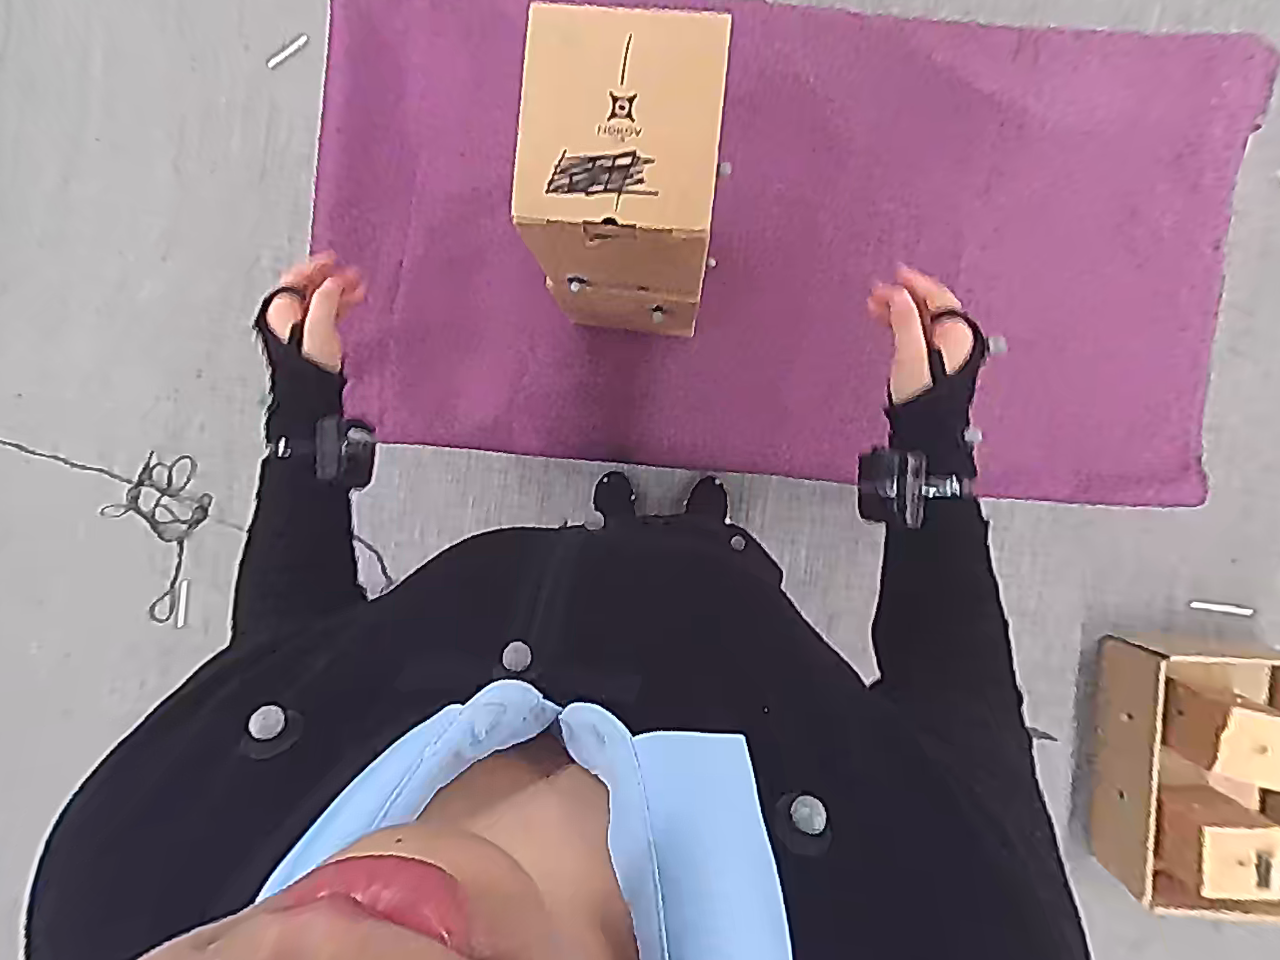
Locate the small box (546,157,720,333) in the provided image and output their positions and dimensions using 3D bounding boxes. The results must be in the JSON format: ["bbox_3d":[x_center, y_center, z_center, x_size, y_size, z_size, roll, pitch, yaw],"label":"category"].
[{"bbox_3d":[-0.005,-0.290,0.677,0.179,0.176,0.168,8,92,3],"label":"small box"}]

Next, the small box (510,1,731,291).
[{"bbox_3d":[-0.012,-0.293,0.512,0.168,0.176,0.179,6,91,3],"label":"small box"}]

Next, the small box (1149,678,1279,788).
[{"bbox_3d":[1.407,0.602,1.305,0.179,0.176,0.168,13,94,2],"label":"small box"}]
